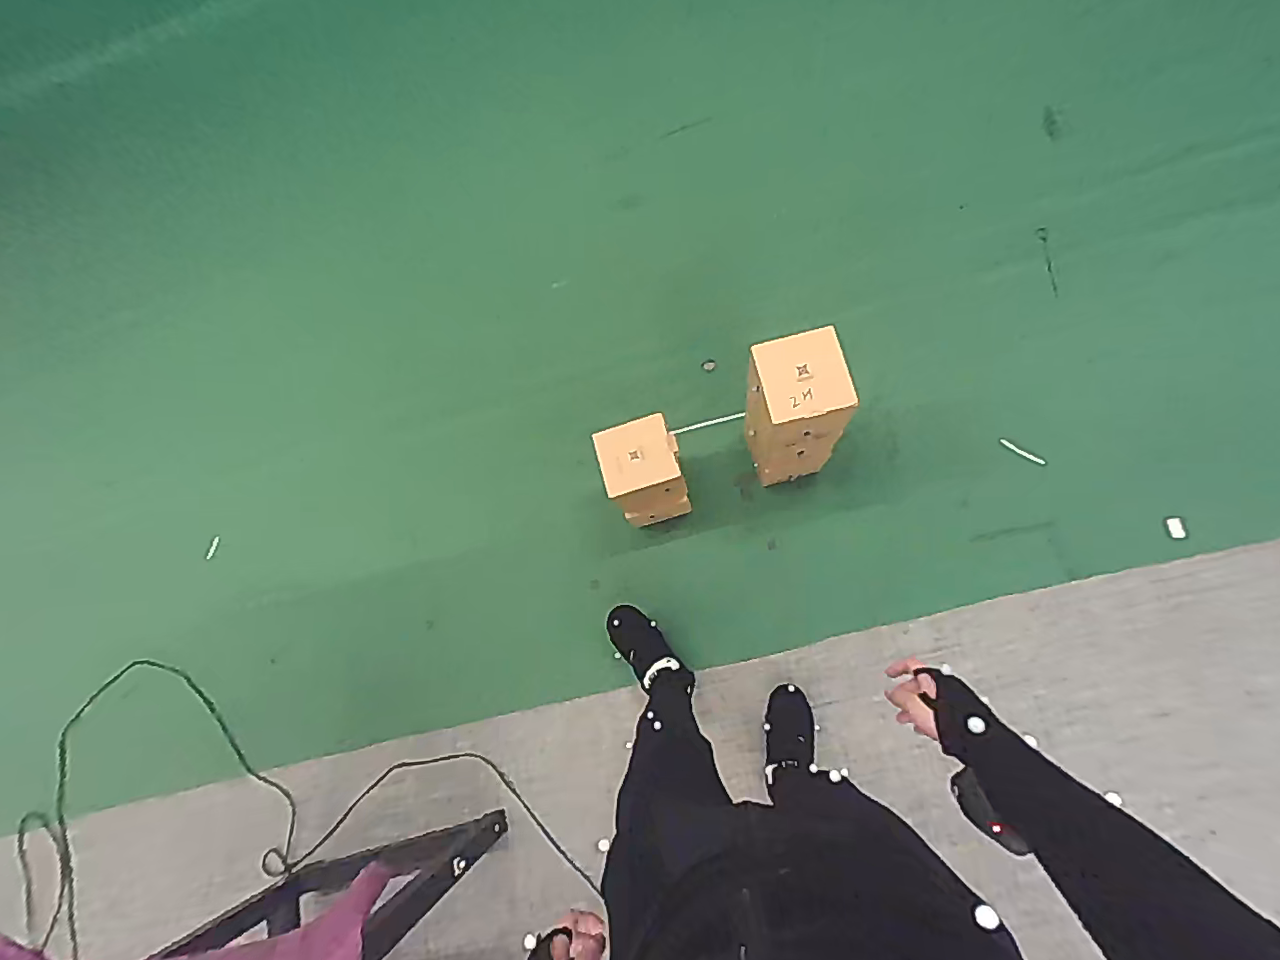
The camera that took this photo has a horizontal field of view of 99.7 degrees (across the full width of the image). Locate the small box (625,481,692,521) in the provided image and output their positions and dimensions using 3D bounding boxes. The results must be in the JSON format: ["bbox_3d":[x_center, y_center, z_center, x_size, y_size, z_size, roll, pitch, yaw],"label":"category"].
[{"bbox_3d":[0.036,0.006,1.462,0.168,0.176,0.179,-18,74,5],"label":"small box"}]

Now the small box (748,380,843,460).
[{"bbox_3d":[0.358,-0.156,1.277,0.168,0.176,0.179,-14,76,4],"label":"small box"}]

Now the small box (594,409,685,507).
[{"bbox_3d":[0.007,-0.047,1.311,0.179,0.176,0.168,-18,73,5],"label":"small box"}]

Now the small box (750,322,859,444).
[{"bbox_3d":[0.330,-0.194,1.119,0.168,0.176,0.179,-13,76,6],"label":"small box"}]
